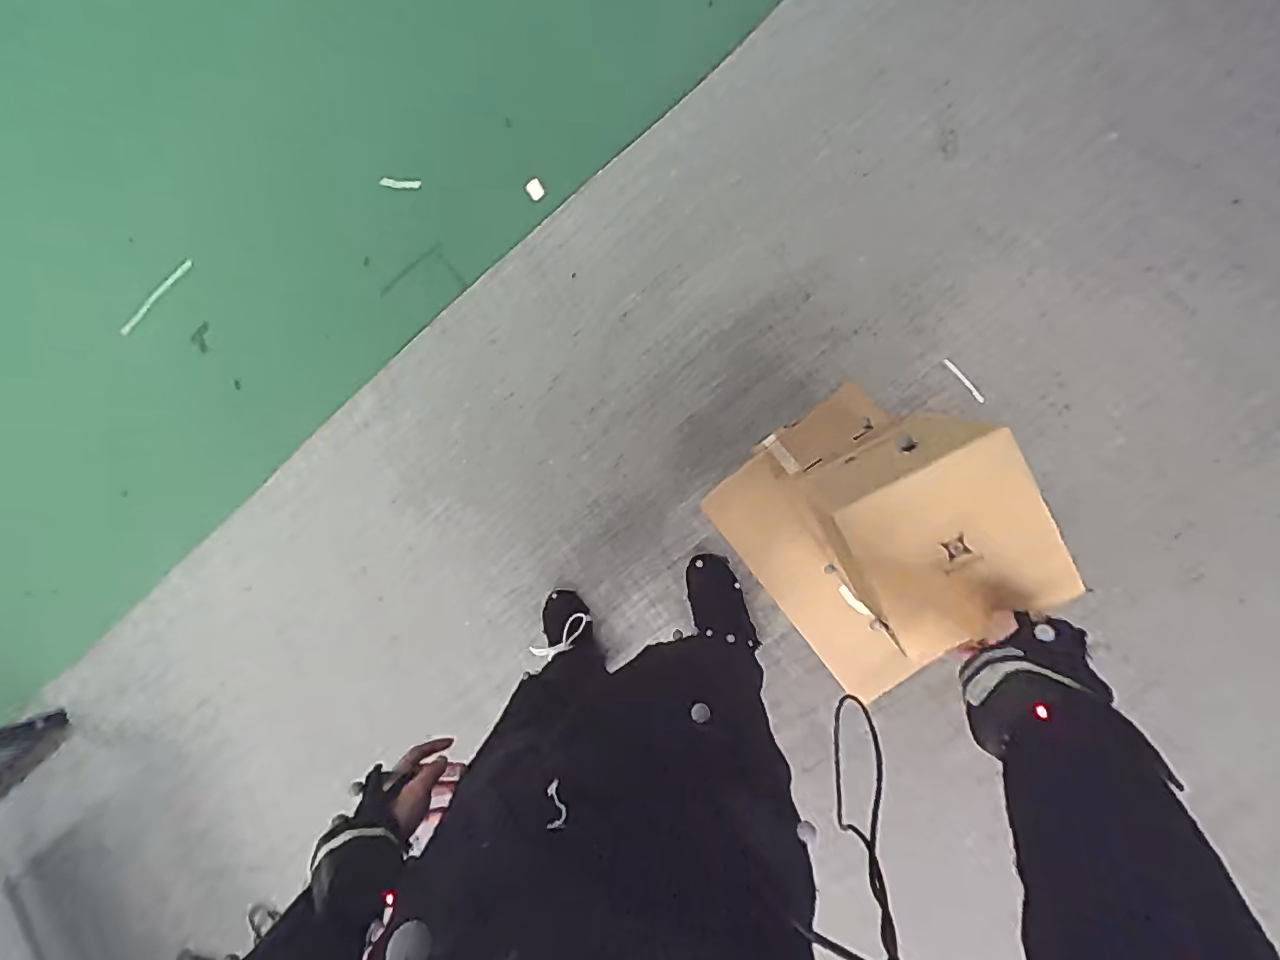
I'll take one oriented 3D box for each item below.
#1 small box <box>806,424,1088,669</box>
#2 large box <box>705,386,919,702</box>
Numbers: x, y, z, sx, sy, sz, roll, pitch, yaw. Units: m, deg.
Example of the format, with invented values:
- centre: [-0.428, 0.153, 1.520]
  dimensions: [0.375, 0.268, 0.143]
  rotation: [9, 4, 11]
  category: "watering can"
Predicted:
- centre: [0.296, 0.053, 0.563]
  dimensions: [0.168, 0.176, 0.179]
  rotation: [-29, 99, 10]
  category: "small box"
- centre: [0.371, 0.097, 0.978]
  dimensions: [0.320, 0.320, 0.408]
  rotation: [-40, 82, 11]
  category: "large box"
